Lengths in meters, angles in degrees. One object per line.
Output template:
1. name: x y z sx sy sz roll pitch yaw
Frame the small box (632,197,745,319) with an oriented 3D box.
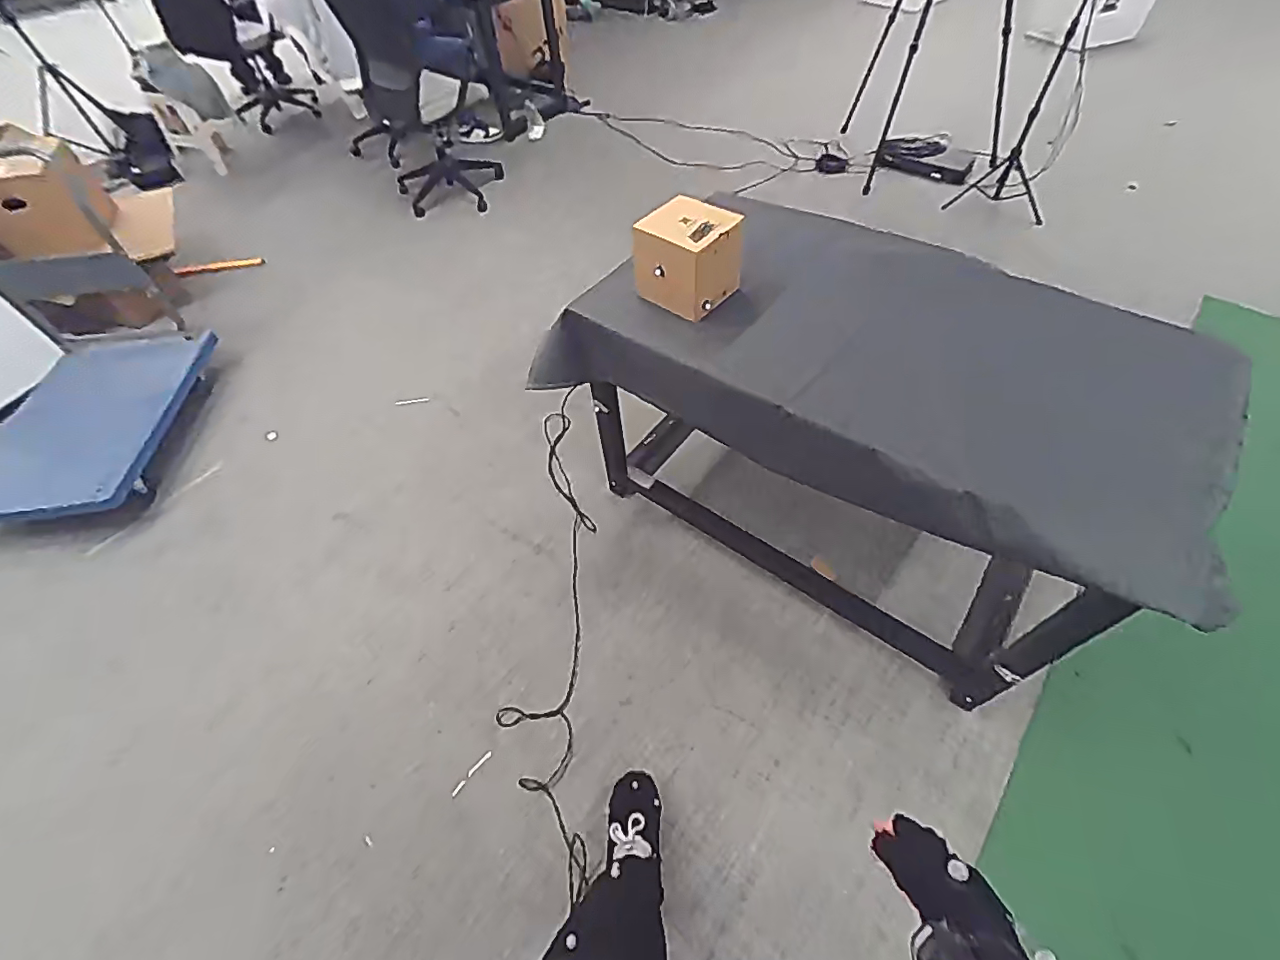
1. small box: 0.105 -0.477 1.177 0.179 0.176 0.168 34 62 26
